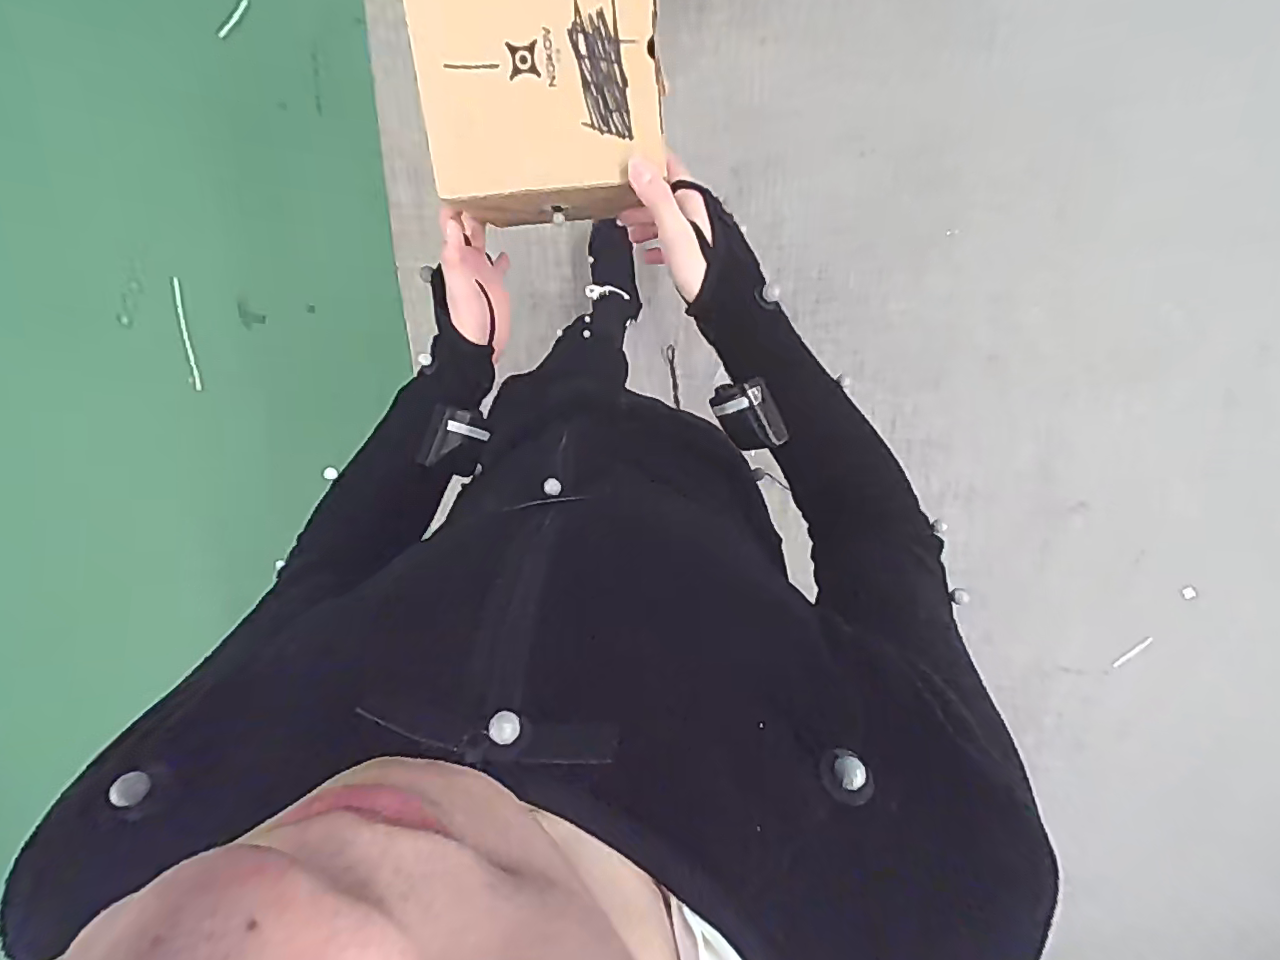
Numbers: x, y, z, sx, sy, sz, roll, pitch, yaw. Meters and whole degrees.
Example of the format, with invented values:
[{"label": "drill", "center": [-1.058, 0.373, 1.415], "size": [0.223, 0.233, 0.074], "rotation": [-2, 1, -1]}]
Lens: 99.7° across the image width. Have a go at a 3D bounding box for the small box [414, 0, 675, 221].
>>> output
[{"label": "small box", "center": [-0.064, -0.321, 0.454], "size": [0.179, 0.176, 0.168], "rotation": [-3, 109, 3]}]
